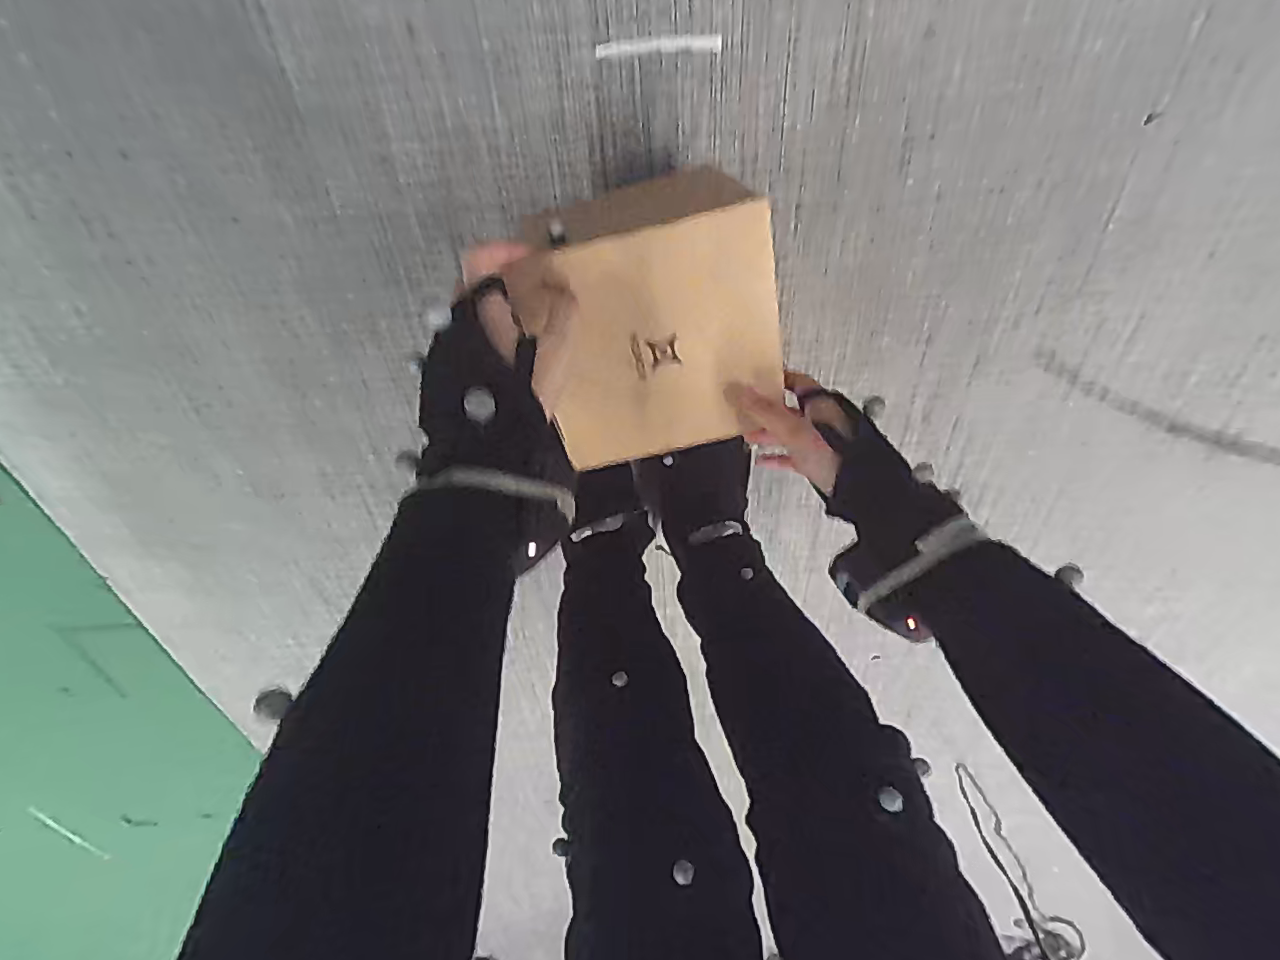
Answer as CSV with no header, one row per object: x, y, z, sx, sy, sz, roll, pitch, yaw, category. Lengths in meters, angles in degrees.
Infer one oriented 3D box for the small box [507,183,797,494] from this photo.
0.012,-0.118,0.433,0.179,0.176,0.168,-13,127,6,small box
